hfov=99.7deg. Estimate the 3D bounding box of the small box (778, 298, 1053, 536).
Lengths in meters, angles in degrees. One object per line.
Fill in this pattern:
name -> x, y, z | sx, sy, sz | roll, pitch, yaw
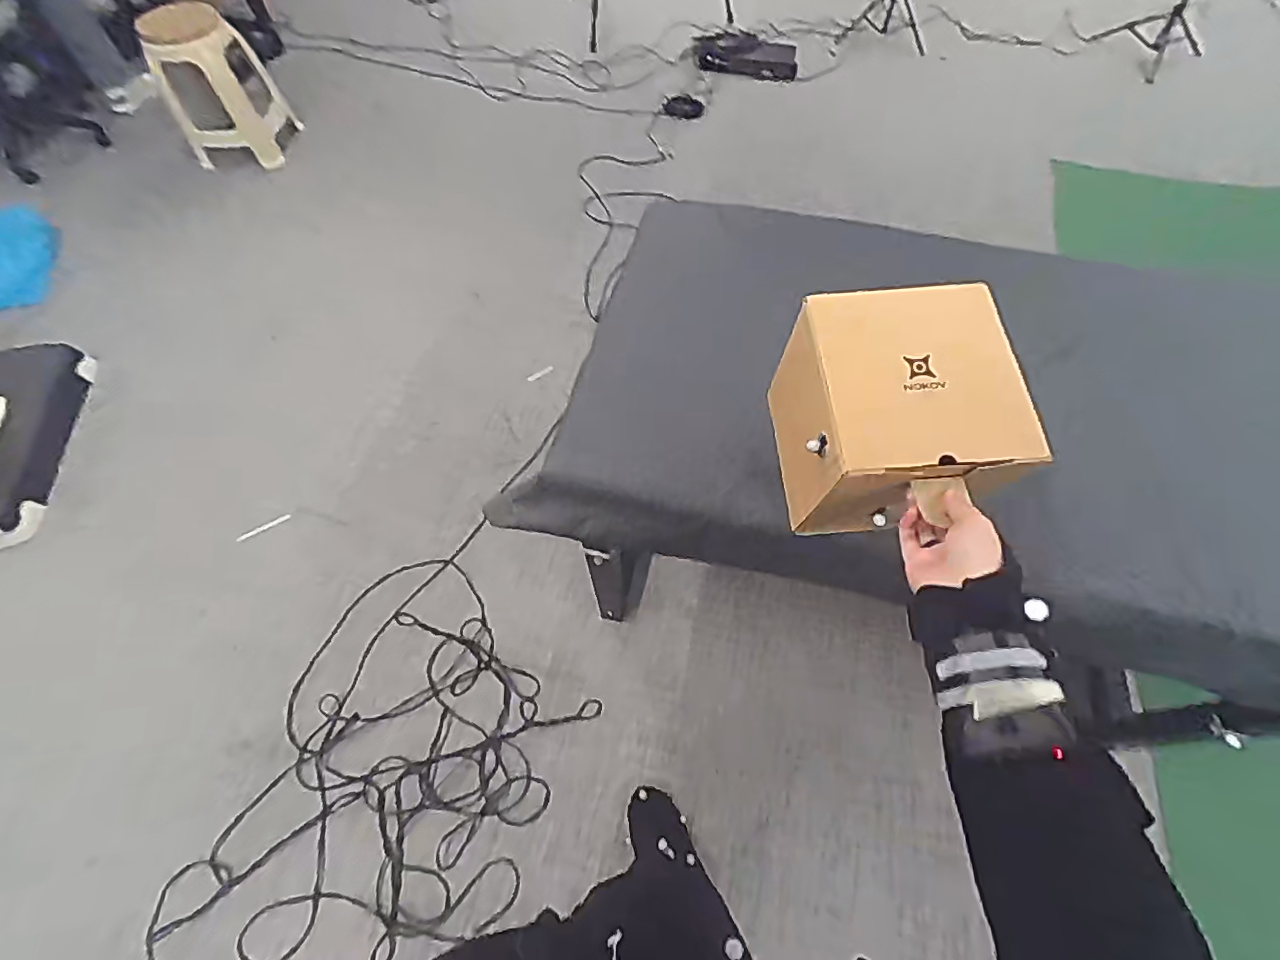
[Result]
small box -> 0.247, -0.055, 0.541 | 0.168, 0.176, 0.179 | -3, 67, -2
